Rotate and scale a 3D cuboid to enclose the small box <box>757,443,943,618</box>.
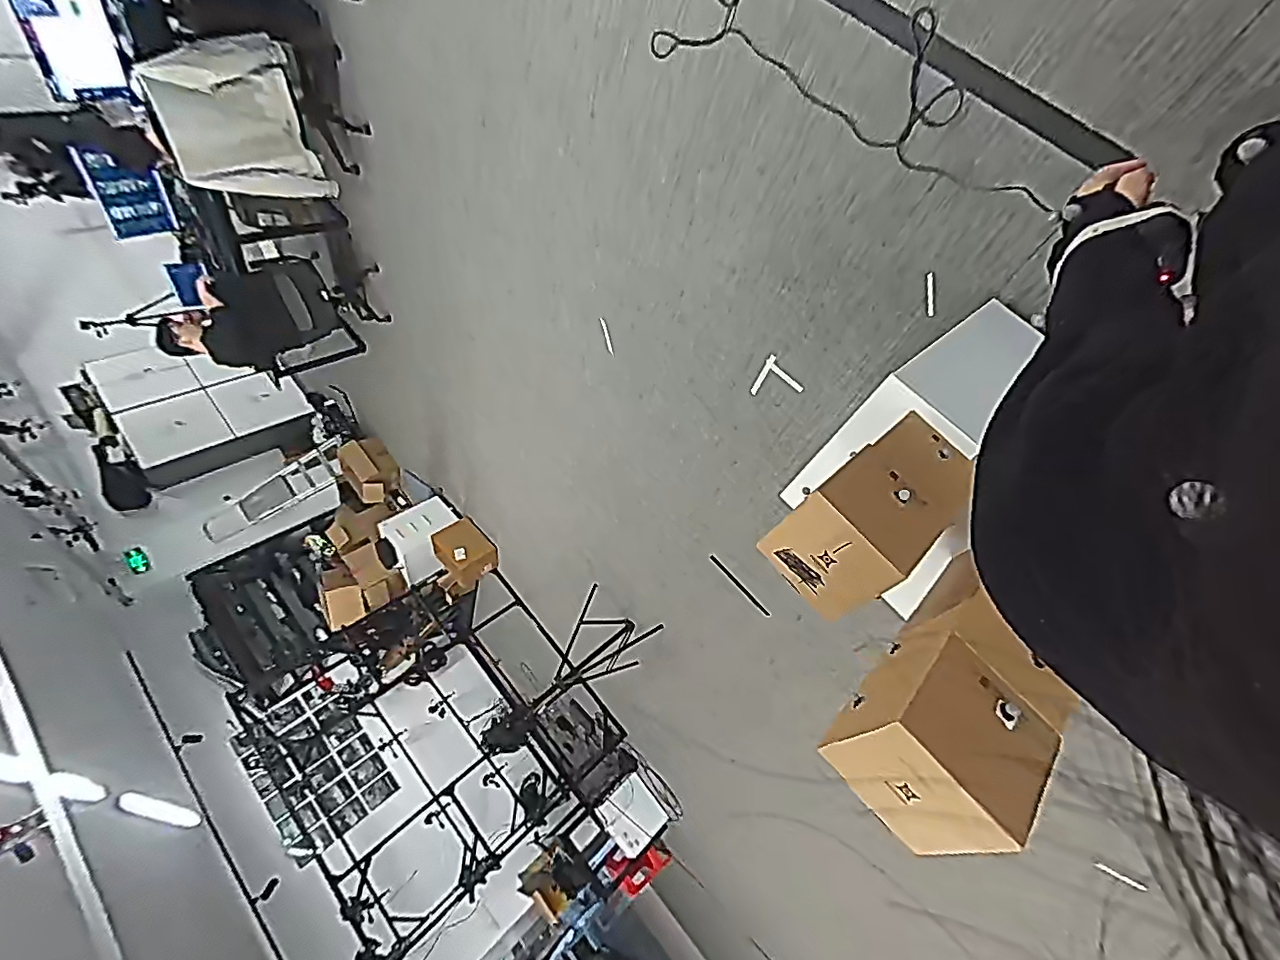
[{"bbox_3d":[0.321,0.076,0.832,0.168,0.176,0.179,48,143,13],"label":"small box"}]

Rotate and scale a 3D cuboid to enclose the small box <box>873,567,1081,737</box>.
[{"bbox_3d":[0.483,0.255,0.775,0.168,0.176,0.179,46,145,16],"label":"small box"}]

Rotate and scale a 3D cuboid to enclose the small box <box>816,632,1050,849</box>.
[{"bbox_3d":[0.367,0.327,0.685,0.168,0.176,0.179,46,143,16],"label":"small box"}]
